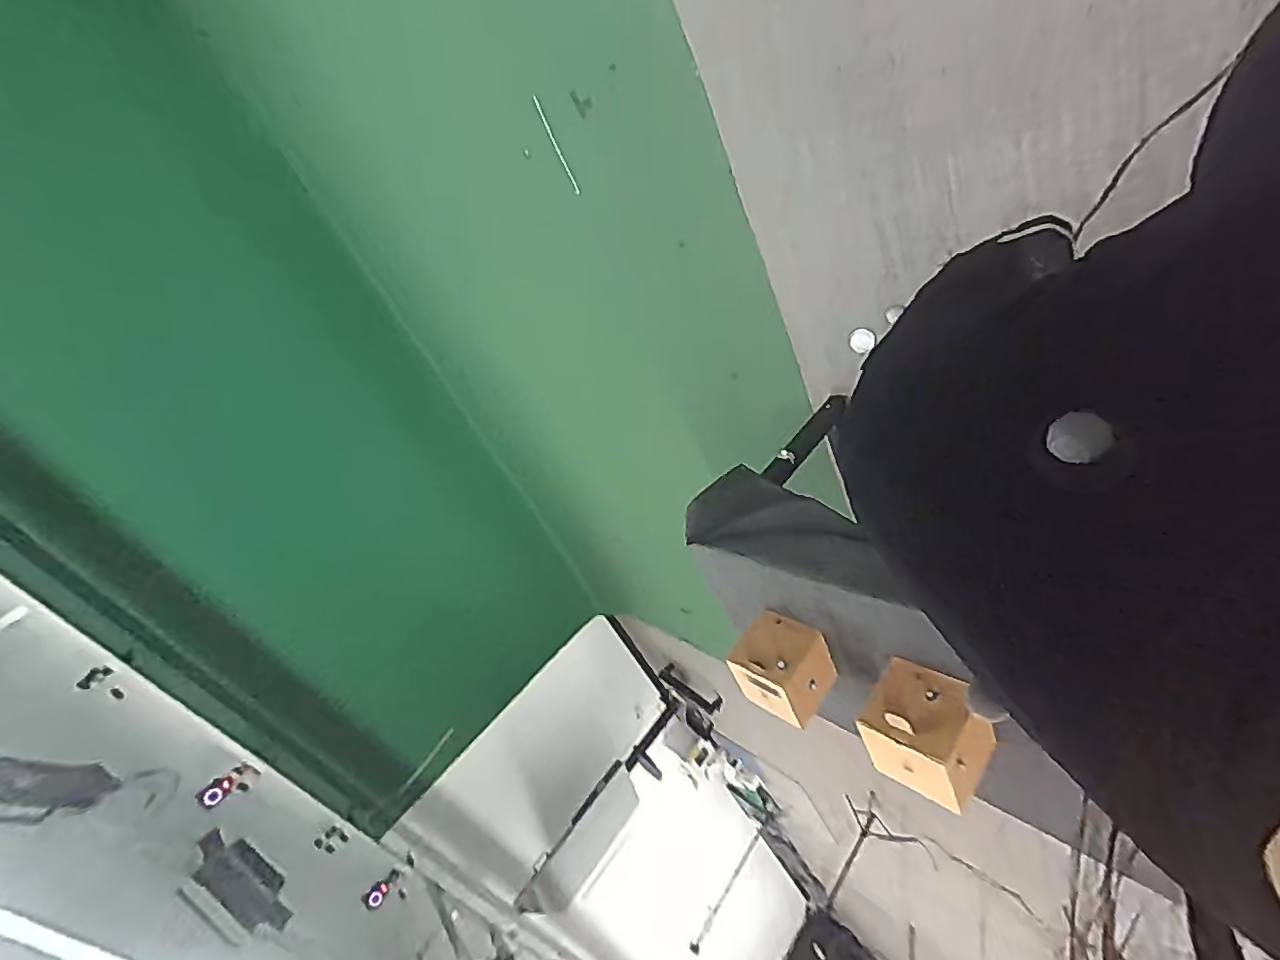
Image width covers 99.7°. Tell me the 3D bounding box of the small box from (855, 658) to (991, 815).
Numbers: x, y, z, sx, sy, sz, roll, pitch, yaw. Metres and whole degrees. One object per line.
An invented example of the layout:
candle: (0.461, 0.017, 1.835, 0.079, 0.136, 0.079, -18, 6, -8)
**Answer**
small box: (0.547, 0.482, 1.037, 0.168, 0.176, 0.179, 10, 136, 52)
